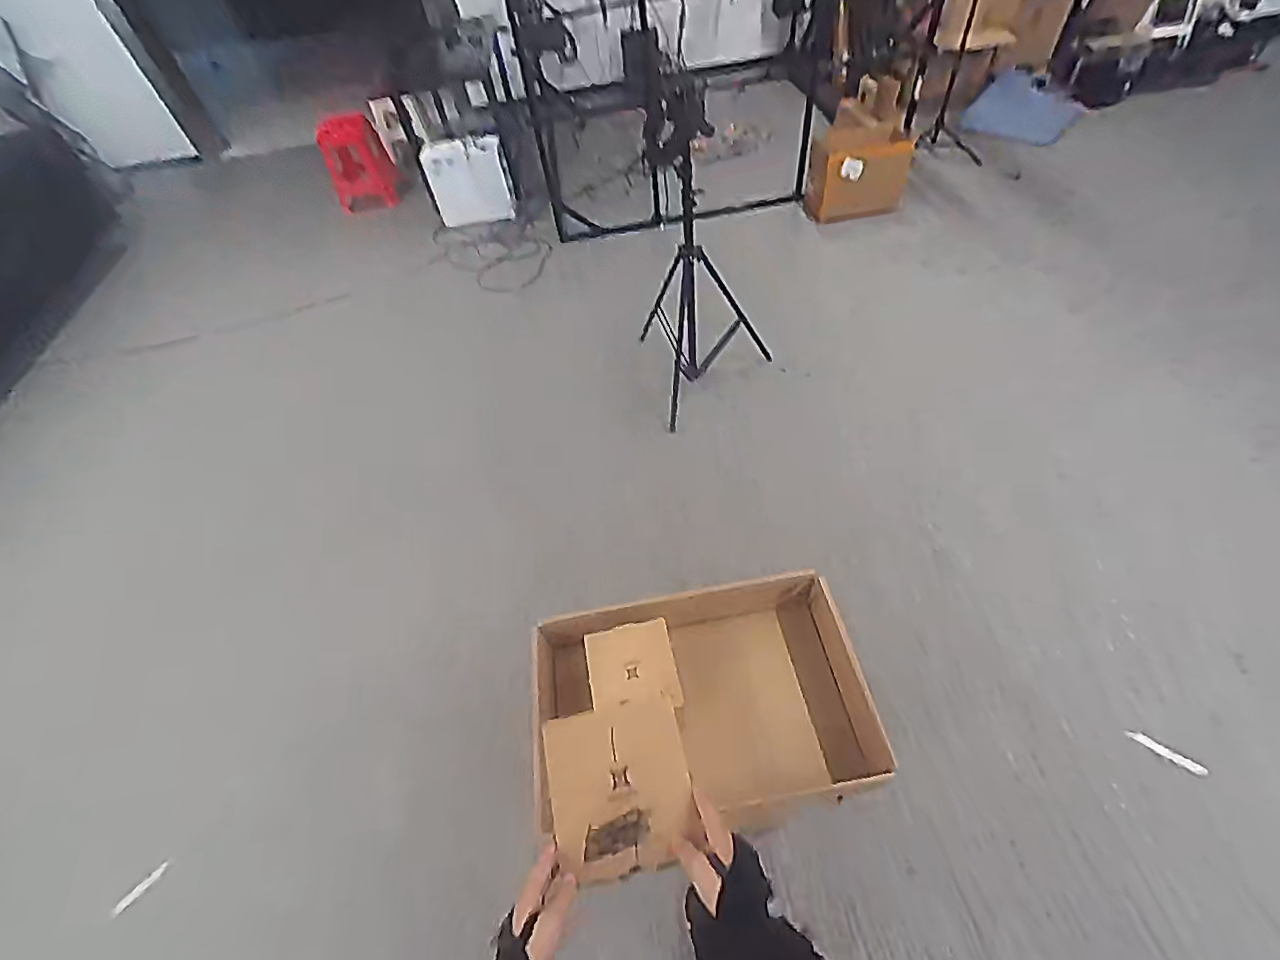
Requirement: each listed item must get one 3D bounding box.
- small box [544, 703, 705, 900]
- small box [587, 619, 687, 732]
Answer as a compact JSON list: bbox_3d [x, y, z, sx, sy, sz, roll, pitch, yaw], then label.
[{"bbox_3d":[-0.020,0.402,0.703,0.168,0.176,0.179,-11,64,-5],"label":"small box"},{"bbox_3d":[-0.004,0.409,1.088,0.168,0.176,0.179,-12,51,-2],"label":"small box"}]
